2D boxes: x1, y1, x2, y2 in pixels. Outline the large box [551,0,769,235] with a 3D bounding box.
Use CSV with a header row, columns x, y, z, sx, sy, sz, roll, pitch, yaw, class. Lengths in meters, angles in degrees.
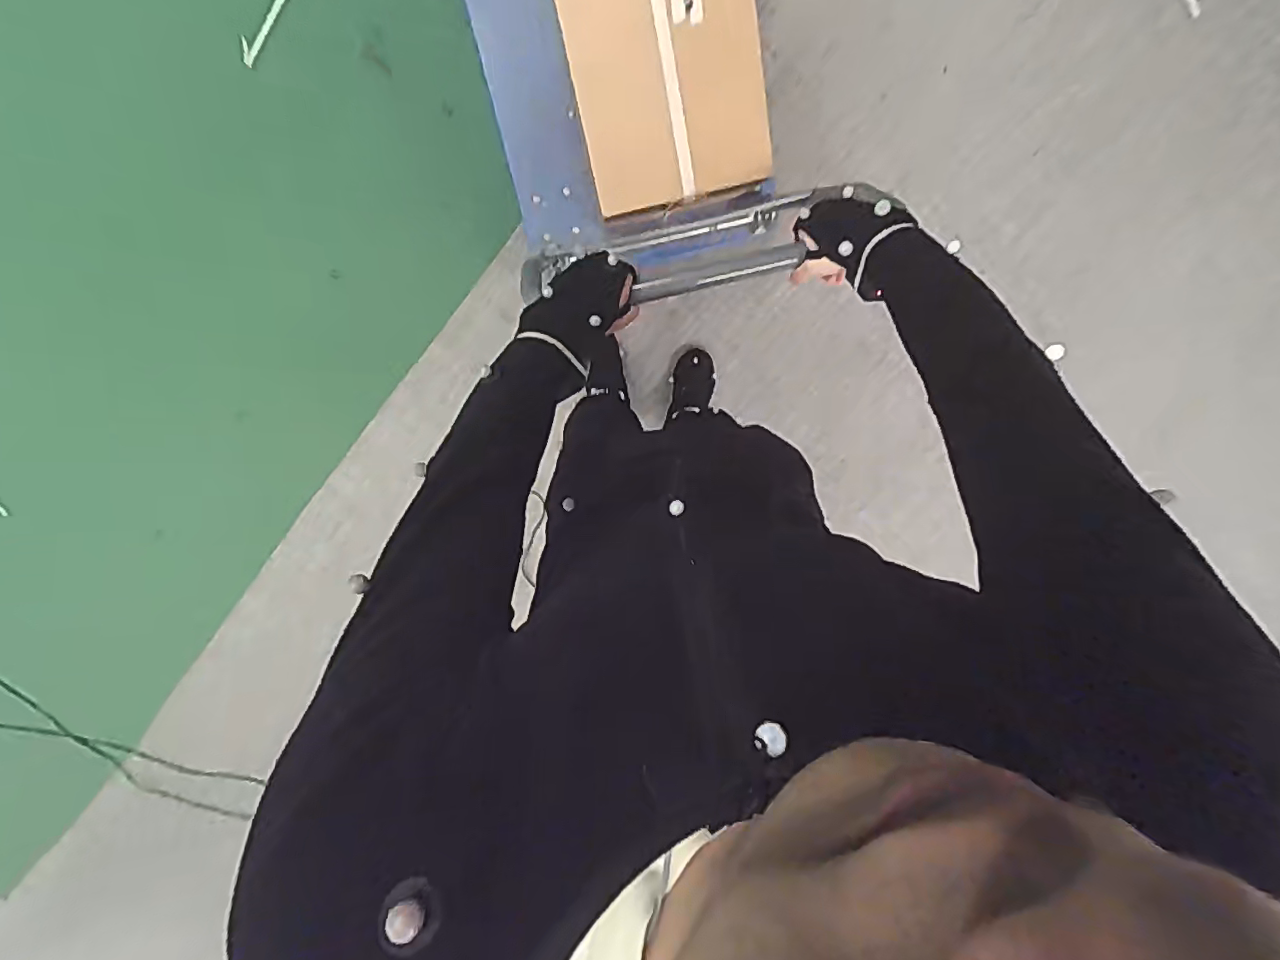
x,y,z,sx,sy,sz,roll,pitch,yaw,class
0.033,-0.731,1.045,0.320,0.320,0.408,-13,111,1,large box
